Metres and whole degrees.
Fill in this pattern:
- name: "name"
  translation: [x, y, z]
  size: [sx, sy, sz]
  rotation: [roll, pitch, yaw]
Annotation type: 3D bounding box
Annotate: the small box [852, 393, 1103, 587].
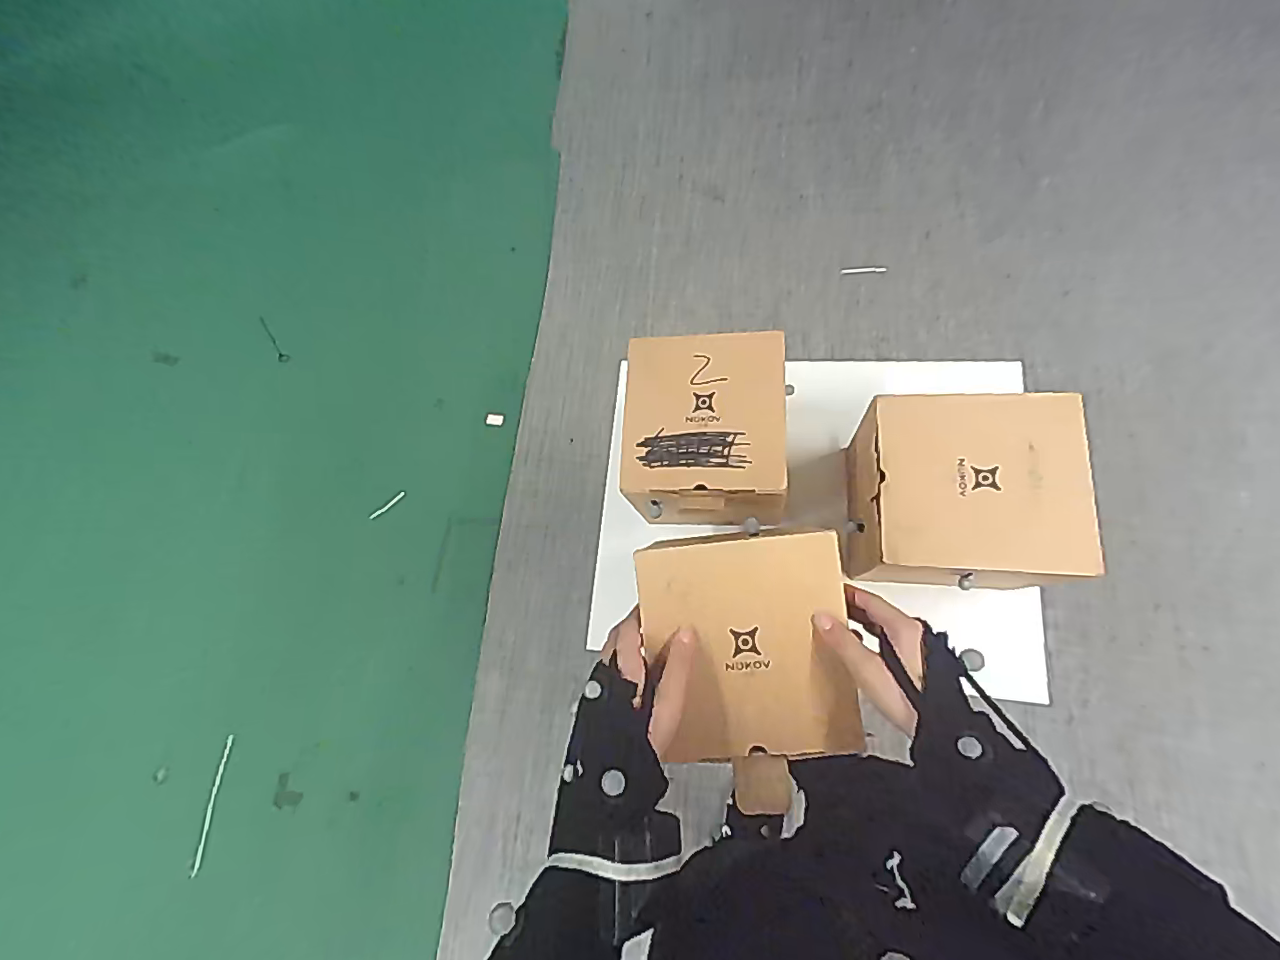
- name: "small box"
  translation: [0.320, 0.019, 0.558]
  size: [0.179, 0.176, 0.168]
  rotation: [1, 76, 12]
